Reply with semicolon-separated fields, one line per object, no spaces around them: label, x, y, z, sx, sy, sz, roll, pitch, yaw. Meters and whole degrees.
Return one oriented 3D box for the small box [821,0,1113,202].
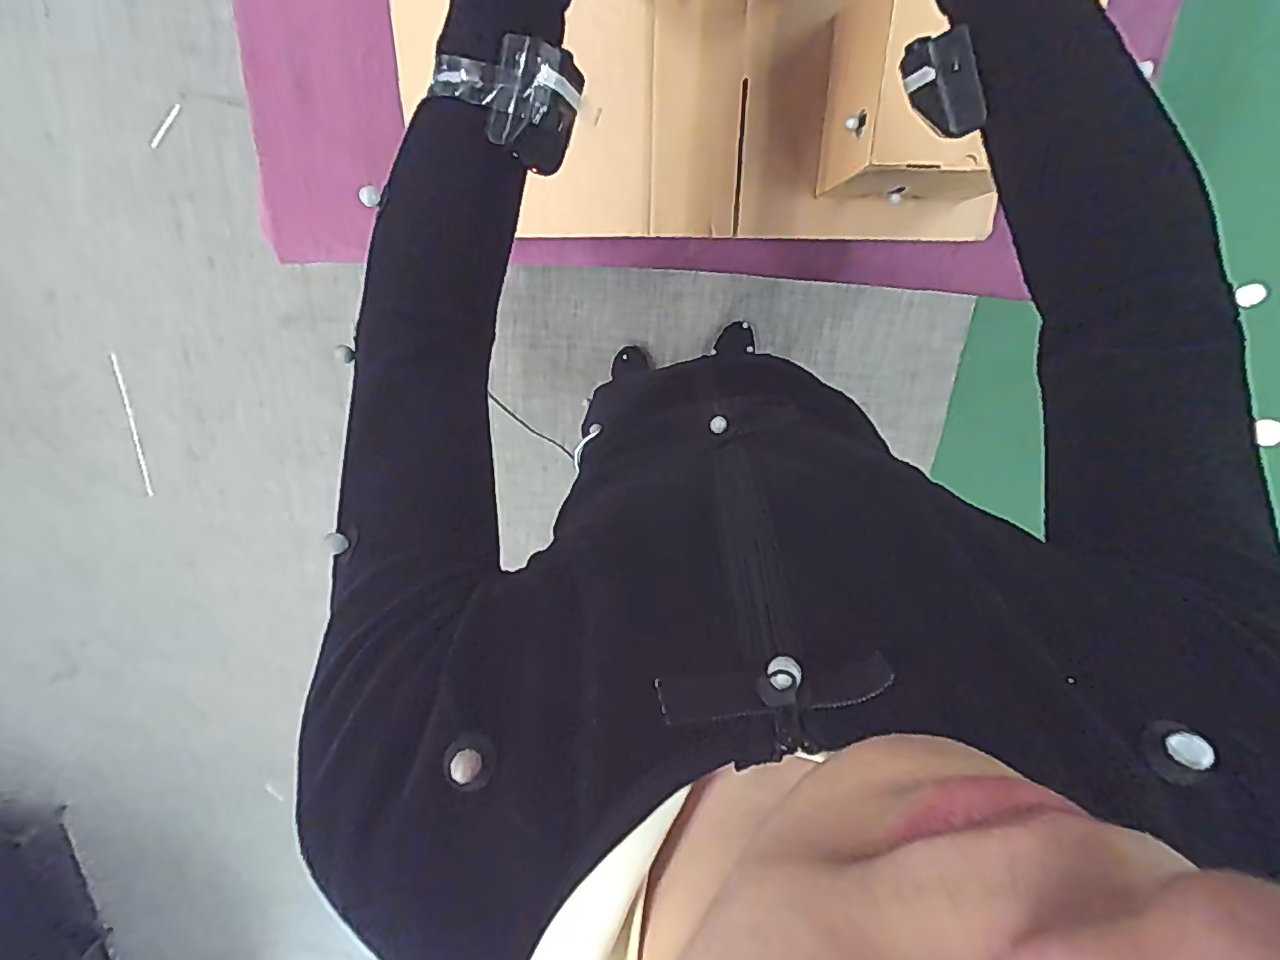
small box;0.278;-0.367;0.497;0.168;0.176;0.179;2;111;2
